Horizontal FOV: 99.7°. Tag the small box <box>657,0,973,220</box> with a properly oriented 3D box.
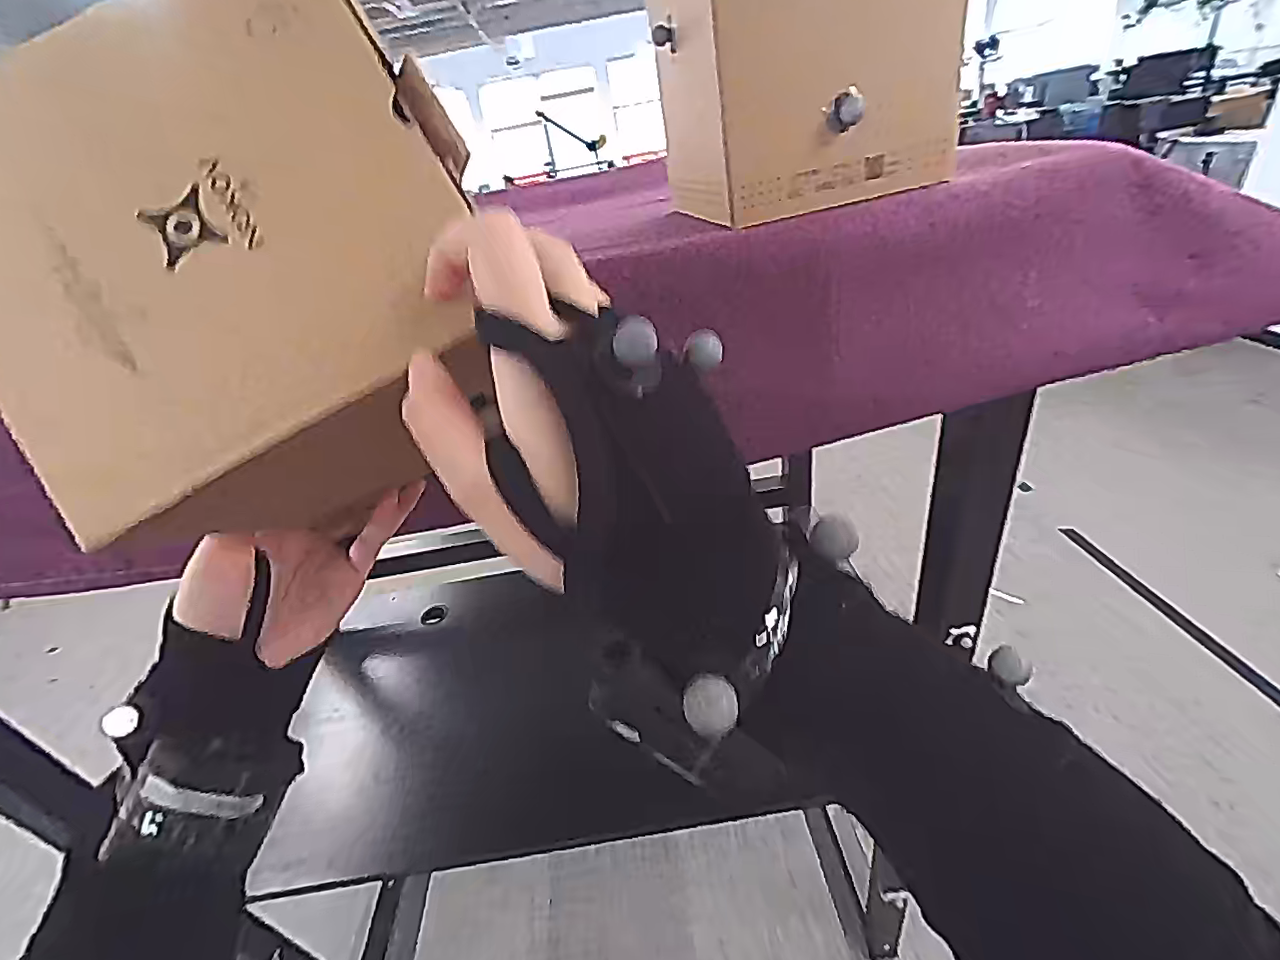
[{"bbox_3d":[0.116,-0.304,0.409,0.168,0.176,0.179,-14,31,-4],"label":"small box"}]

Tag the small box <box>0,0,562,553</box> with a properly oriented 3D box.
[{"bbox_3d":[-0.149,-0.086,0.265,0.179,0.168,0.176,-30,0,-3],"label":"small box"}]
